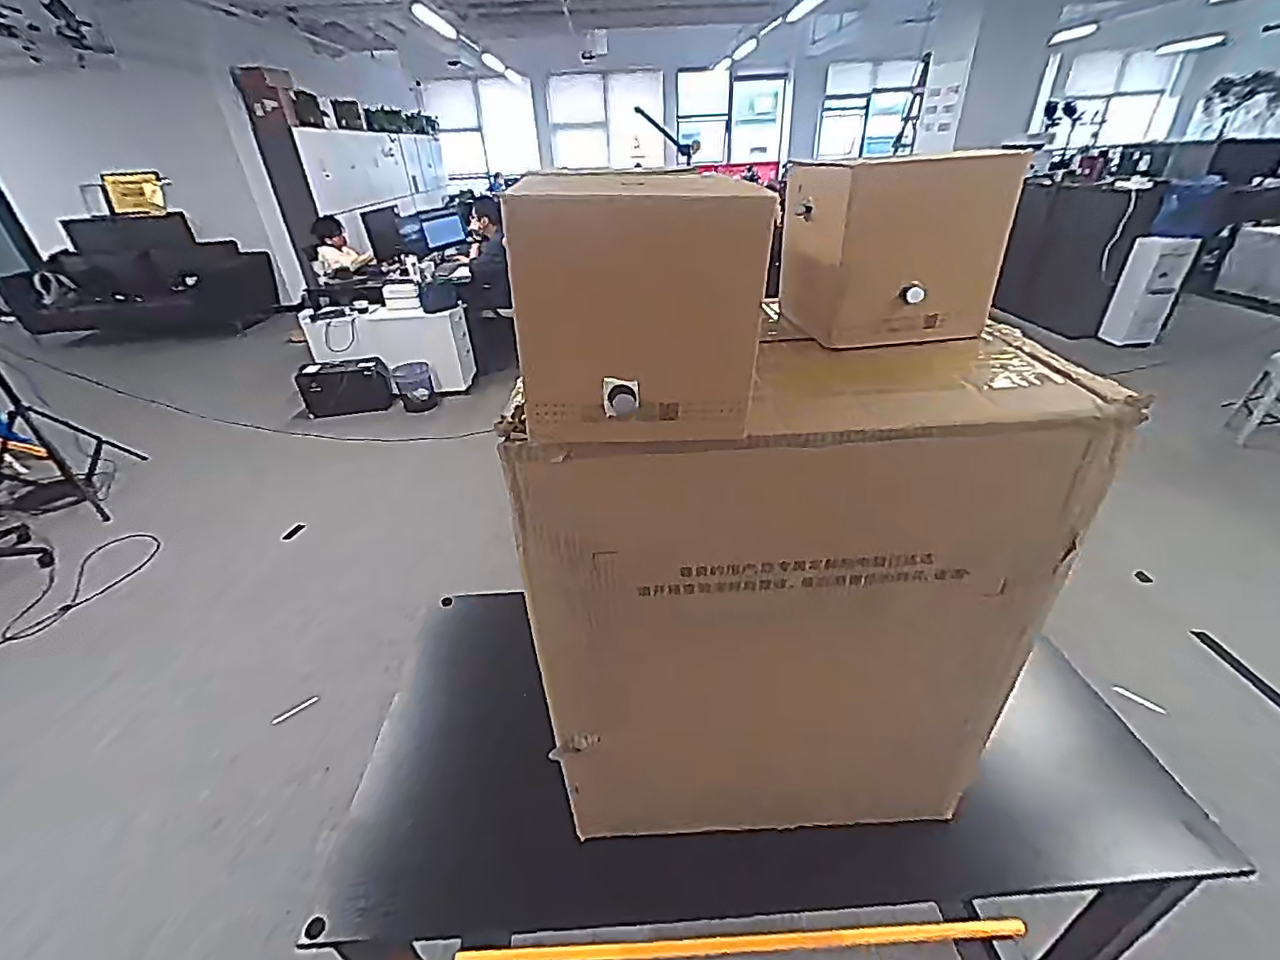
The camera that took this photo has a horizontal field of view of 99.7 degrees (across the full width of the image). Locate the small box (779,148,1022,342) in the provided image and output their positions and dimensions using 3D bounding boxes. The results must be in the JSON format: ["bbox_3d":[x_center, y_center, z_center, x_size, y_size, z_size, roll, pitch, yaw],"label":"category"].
[{"bbox_3d":[0.257,-0.256,0.589,0.168,0.176,0.179,-6,31,-2],"label":"small box"}]

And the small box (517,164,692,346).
[{"bbox_3d":[-0.037,-0.255,0.610,0.168,0.176,0.179,-4,30,-3],"label":"small box"}]
